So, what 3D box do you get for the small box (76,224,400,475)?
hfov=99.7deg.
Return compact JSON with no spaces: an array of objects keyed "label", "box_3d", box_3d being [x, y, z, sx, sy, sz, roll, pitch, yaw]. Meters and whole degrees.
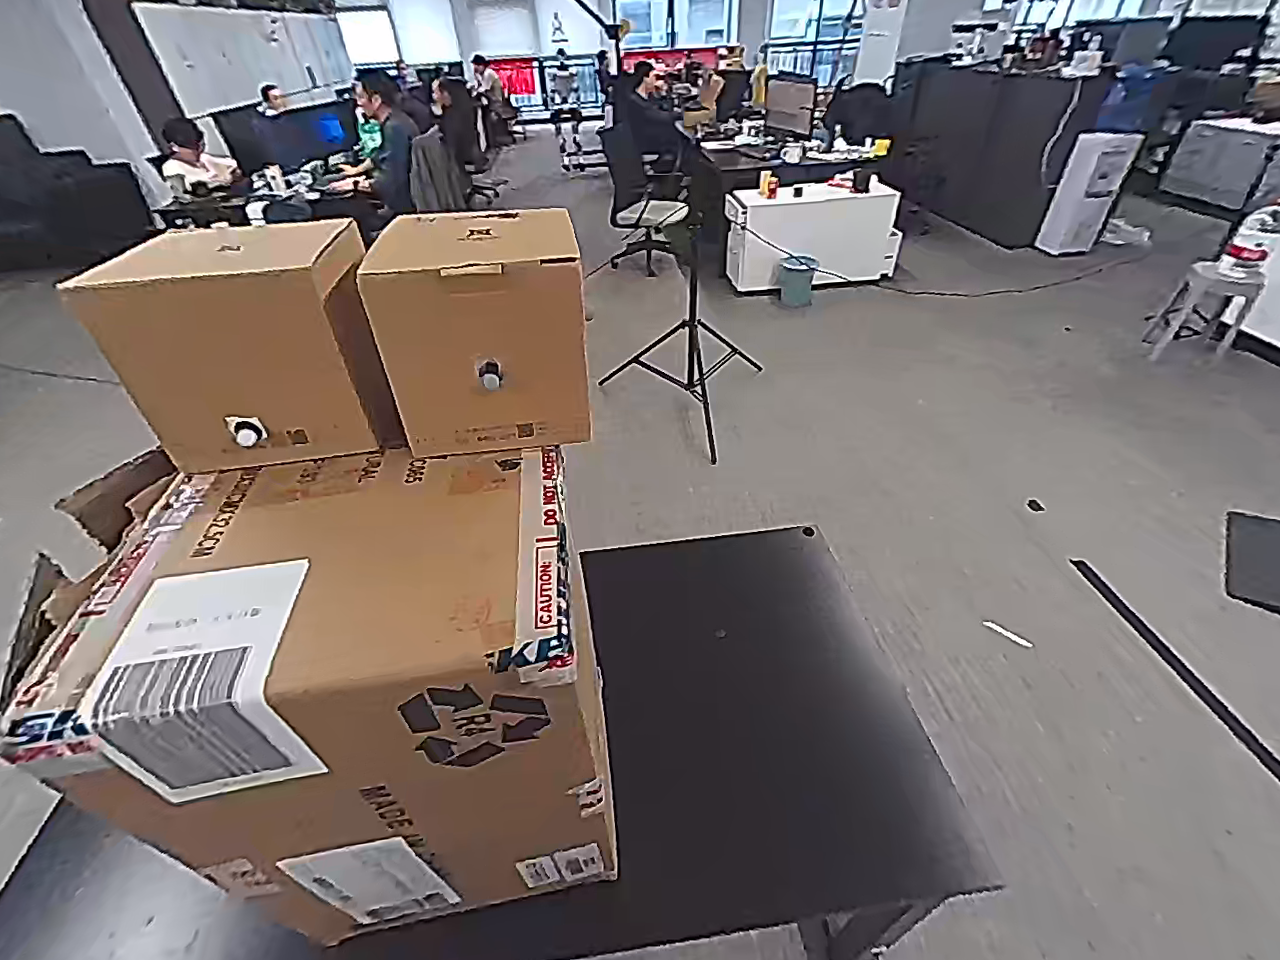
[{"label":"small box","box_3d":[-0.340,-0.128,0.510,0.168,0.176,0.179,-10,39,-9]}]
